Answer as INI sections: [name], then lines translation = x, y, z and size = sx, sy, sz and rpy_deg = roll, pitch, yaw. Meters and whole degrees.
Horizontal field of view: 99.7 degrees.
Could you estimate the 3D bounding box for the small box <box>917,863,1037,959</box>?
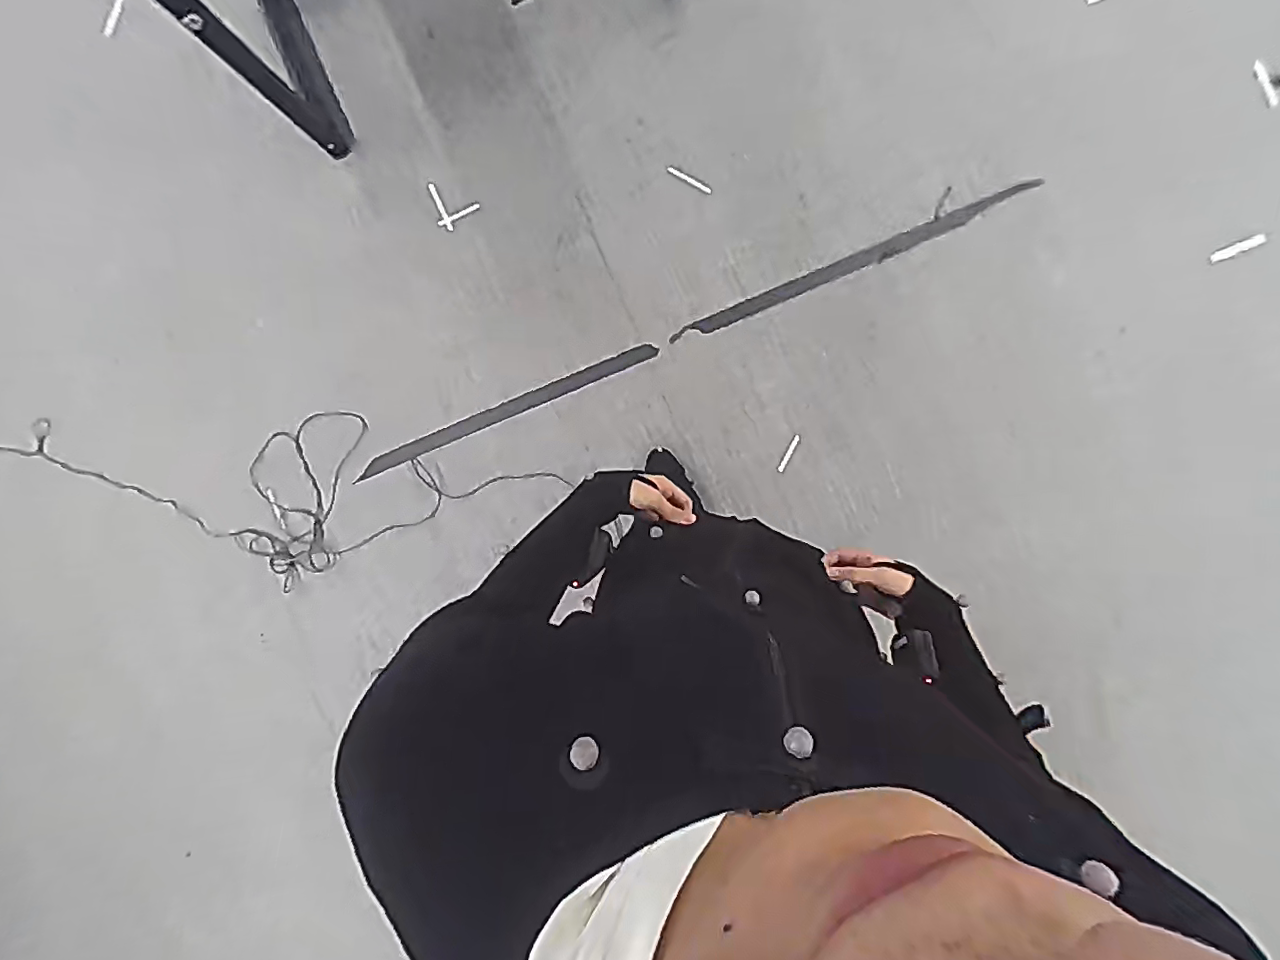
[small box]
translation = 0.715, 0.951, 1.143
size = 0.168, 0.176, 0.179
rpy_deg = -15, 93, 5
